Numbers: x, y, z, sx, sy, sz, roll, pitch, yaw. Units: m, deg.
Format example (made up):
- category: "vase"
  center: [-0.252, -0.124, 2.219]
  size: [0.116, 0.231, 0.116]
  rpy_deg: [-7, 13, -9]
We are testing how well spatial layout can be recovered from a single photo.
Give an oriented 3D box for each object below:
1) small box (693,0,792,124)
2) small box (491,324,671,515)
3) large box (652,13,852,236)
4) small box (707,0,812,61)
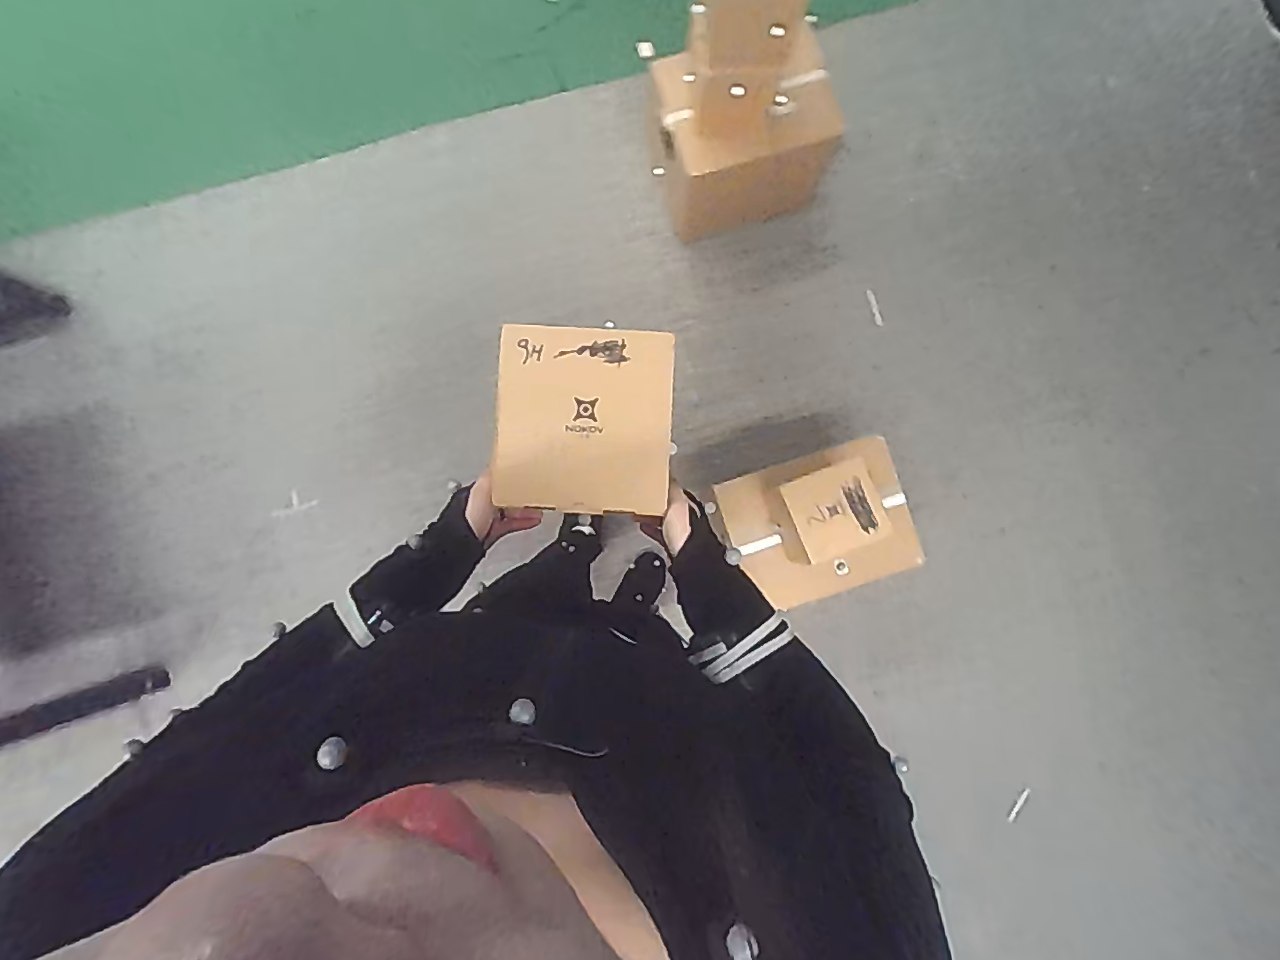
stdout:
- category: "small box"
  center: [0.219, -0.924, 1.192]
  size: [0.179, 0.176, 0.168]
  rpy_deg: [-6, 85, 0]
- category: "small box"
  center: [-0.057, -0.057, 0.589]
  size: [0.168, 0.176, 0.179]
  rpy_deg: [2, 89, -2]
- category: "large box"
  center: [0.270, -0.915, 1.435]
  size: [0.408, 0.320, 0.320]
  rpy_deg: [-17, 86, -2]
- category: "small box"
  center: [0.227, -0.944, 1.030]
  size: [0.179, 0.176, 0.168]
  rpy_deg: [-2, 85, 1]
